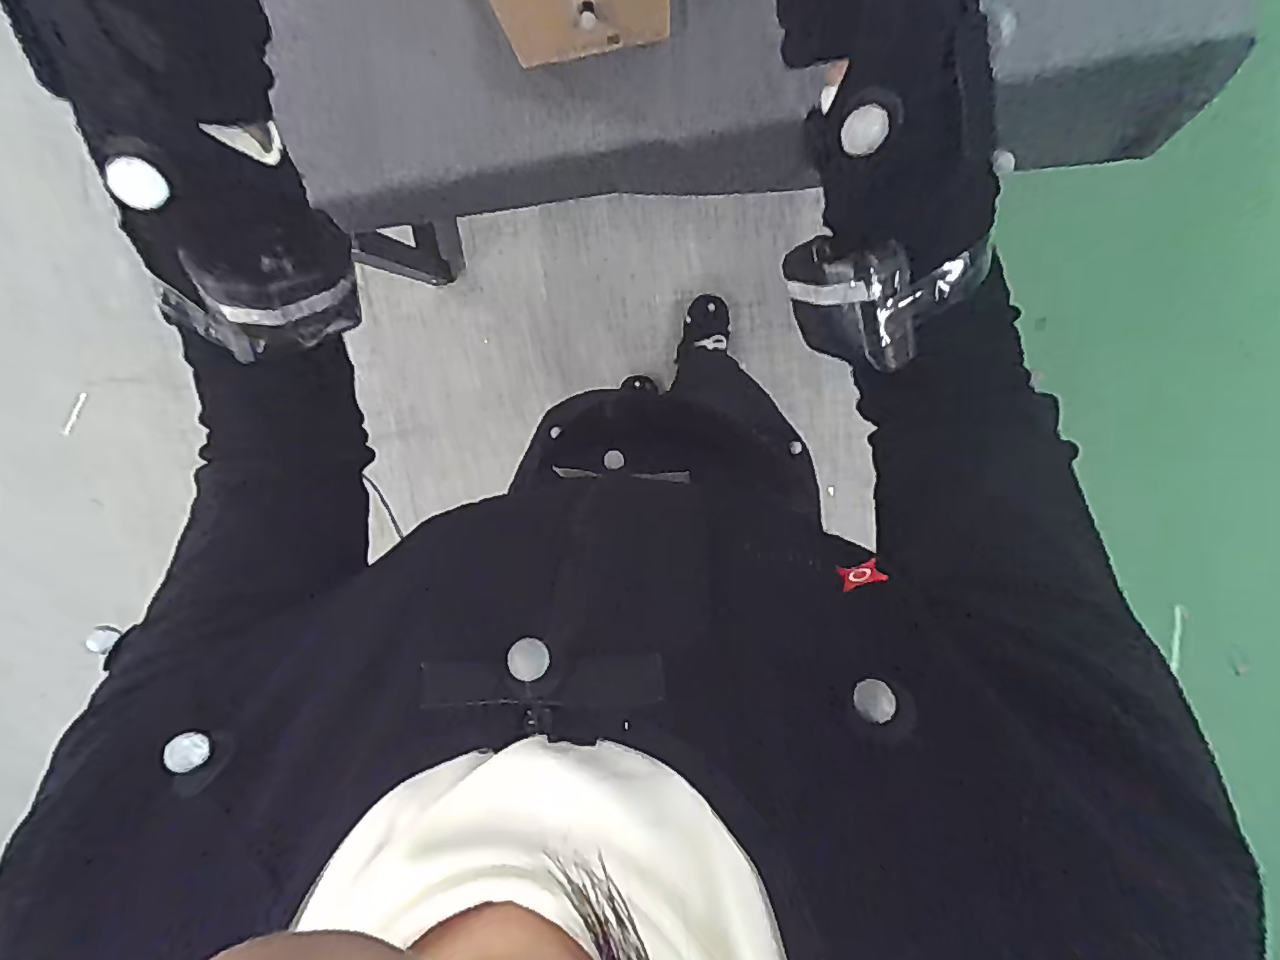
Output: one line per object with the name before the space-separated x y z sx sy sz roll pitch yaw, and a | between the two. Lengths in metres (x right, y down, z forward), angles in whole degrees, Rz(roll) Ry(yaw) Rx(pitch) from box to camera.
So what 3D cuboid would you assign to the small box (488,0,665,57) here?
small box | -0.068 -0.527 0.493 0.168 0.176 0.179 -9 103 4
